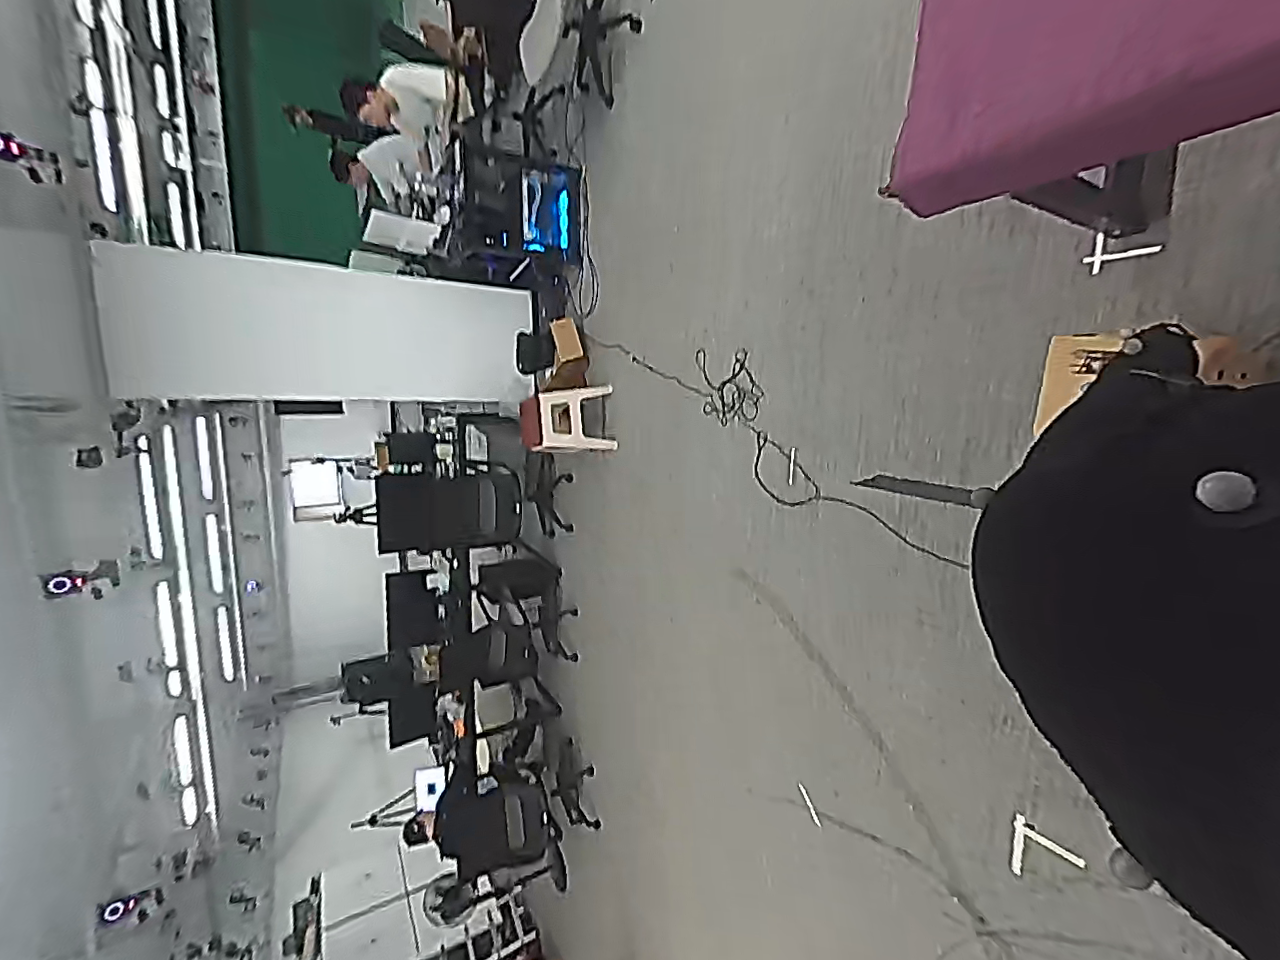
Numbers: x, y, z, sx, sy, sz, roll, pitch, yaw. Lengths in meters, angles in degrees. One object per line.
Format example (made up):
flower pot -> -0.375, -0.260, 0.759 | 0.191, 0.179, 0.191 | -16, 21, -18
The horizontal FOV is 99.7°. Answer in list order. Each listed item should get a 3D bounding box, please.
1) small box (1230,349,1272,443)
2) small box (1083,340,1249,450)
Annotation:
small box -> 1.077, -0.169, 1.058 | 0.168, 0.176, 0.179 | 26, 116, 55
small box -> 0.940, -0.152, 0.968 | 0.168, 0.176, 0.179 | 17, 109, 58
